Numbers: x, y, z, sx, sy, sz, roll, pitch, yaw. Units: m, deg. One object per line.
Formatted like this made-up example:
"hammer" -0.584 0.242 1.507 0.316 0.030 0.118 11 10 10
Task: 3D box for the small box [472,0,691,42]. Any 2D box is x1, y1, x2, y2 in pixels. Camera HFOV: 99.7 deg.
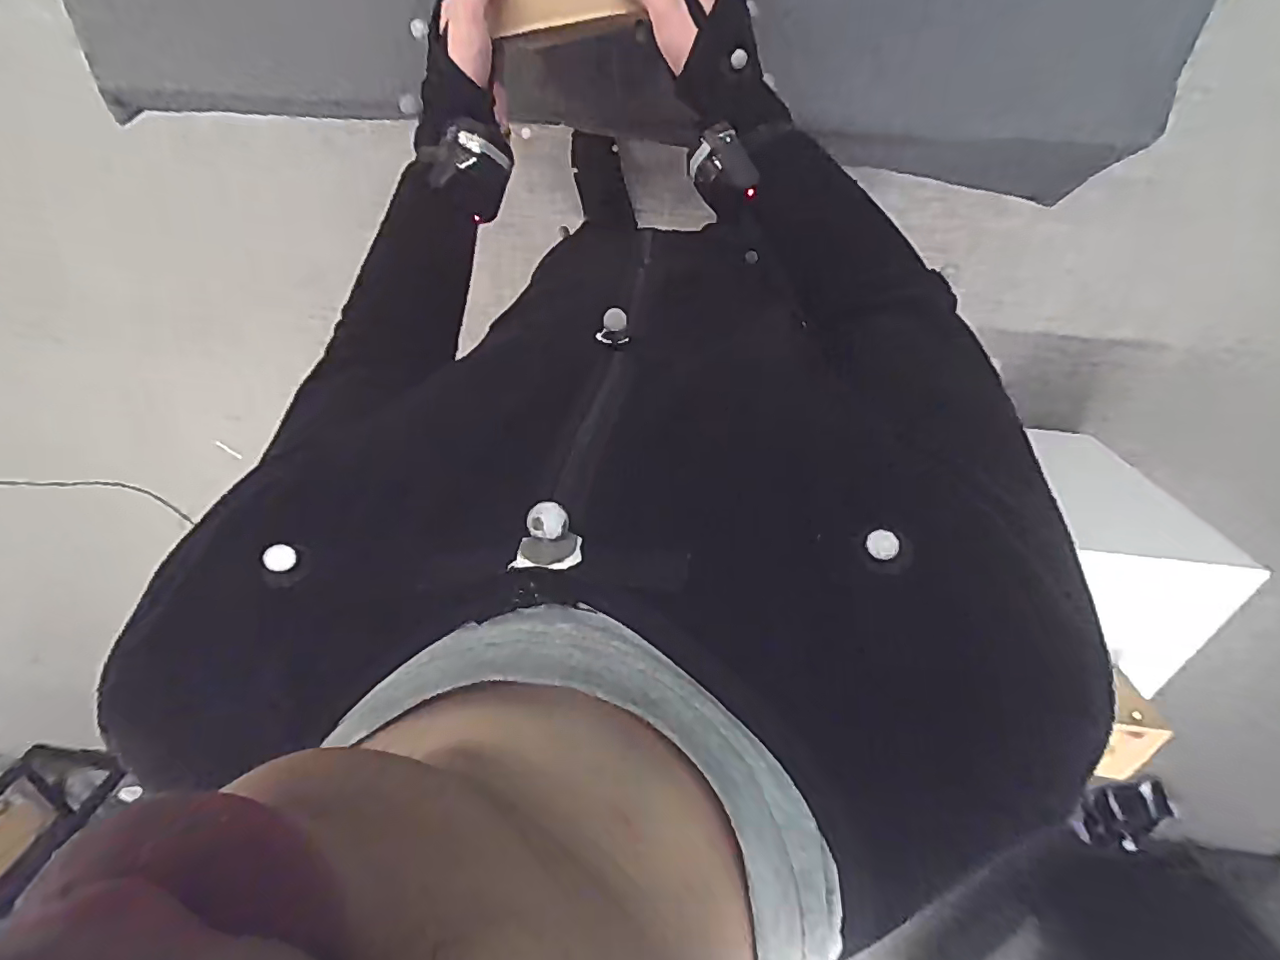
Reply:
"small box" -0.047 -0.477 0.440 0.179 0.176 0.168 -3 126 11
